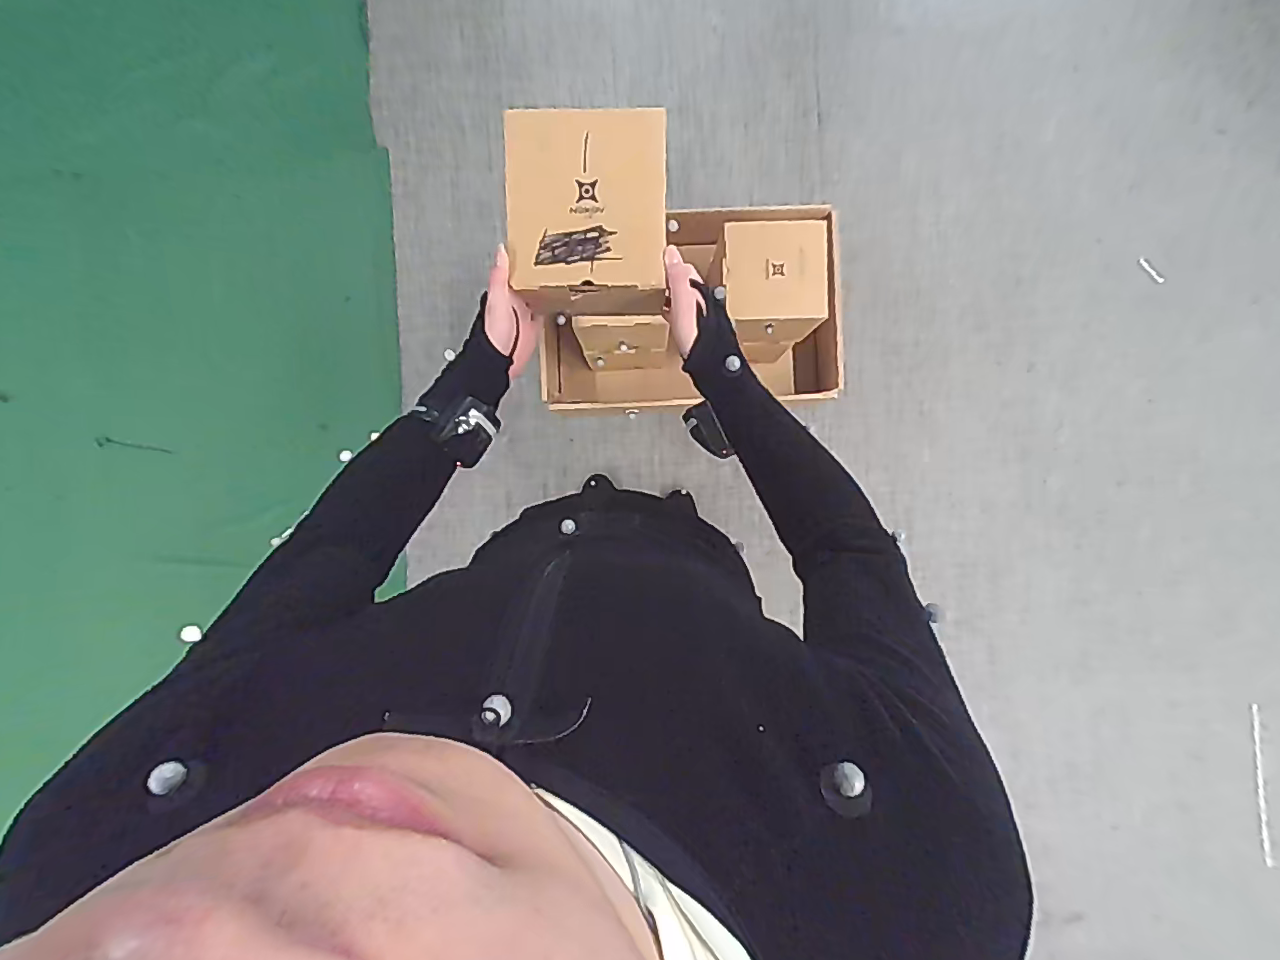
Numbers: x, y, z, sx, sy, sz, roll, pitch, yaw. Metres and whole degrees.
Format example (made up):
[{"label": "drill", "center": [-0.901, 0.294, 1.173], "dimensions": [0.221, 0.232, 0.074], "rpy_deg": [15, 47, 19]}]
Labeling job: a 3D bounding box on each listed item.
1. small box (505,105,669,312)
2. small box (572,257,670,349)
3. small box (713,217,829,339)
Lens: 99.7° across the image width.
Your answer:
[{"label": "small box", "center": [-0.051, -0.294, 0.625], "dimensions": [0.168, 0.176, 0.179], "rpy_deg": [-1, 96, 0]}, {"label": "small box", "center": [-0.034, -0.347, 0.979], "dimensions": [0.168, 0.176, 0.179], "rpy_deg": [-2, 89, 1]}, {"label": "small box", "center": [0.228, -0.356, 0.981], "dimensions": [0.179, 0.176, 0.168], "rpy_deg": [-1, 91, 0]}]
